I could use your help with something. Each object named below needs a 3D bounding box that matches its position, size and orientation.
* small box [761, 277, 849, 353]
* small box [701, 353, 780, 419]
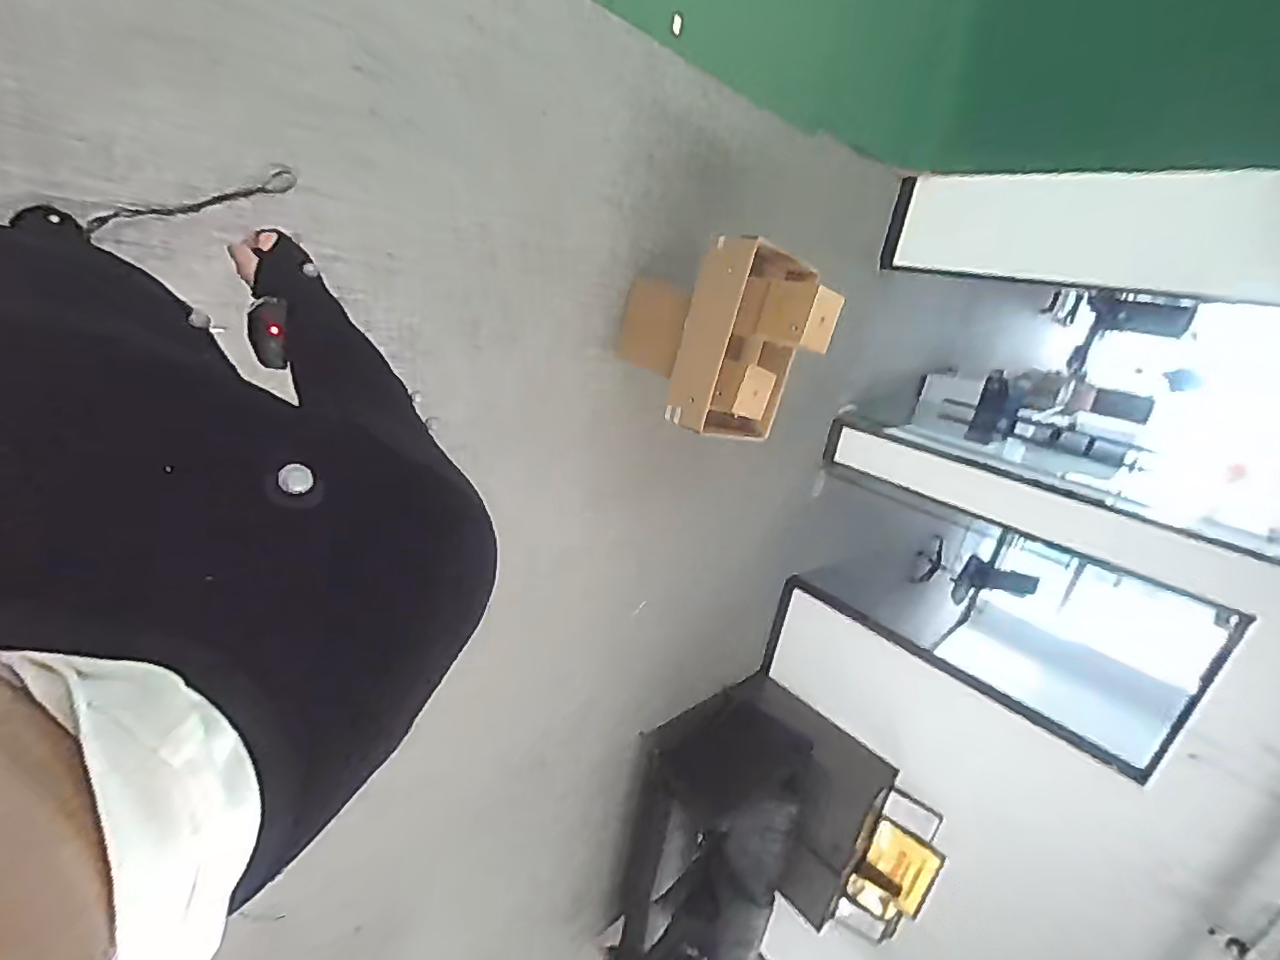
[{"bbox_3d":[0.498,-0.505,1.649,0.168,0.176,0.179,2,112,-44],"label":"small box"},{"bbox_3d":[0.338,-0.323,1.840,0.179,0.176,0.168,7,108,-45],"label":"small box"}]
